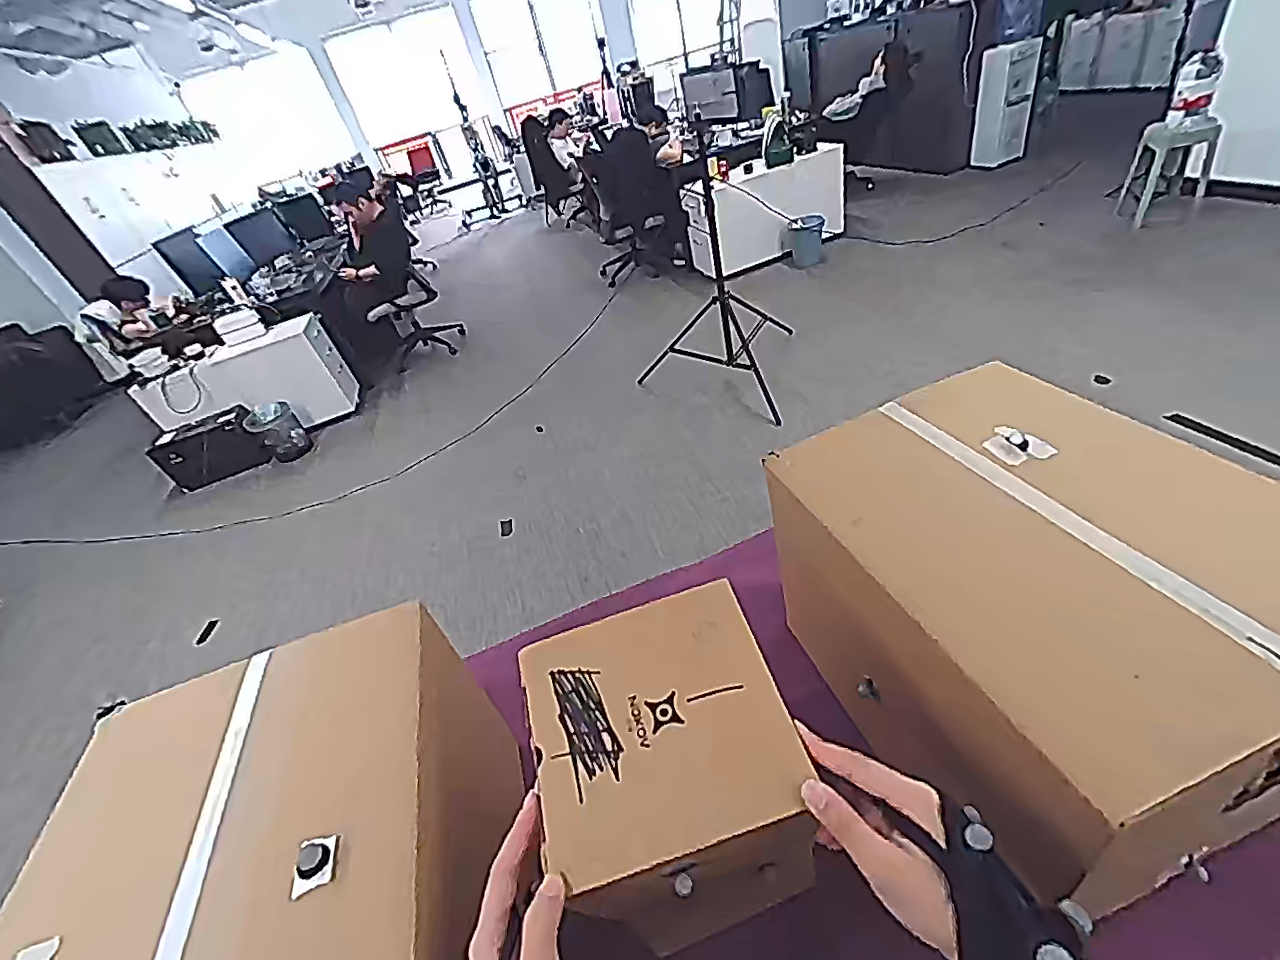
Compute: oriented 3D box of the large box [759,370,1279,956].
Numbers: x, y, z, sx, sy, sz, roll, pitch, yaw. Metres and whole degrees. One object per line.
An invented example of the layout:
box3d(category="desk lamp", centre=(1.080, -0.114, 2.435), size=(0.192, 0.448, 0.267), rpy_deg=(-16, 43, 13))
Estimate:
box3d(category="large box", centre=(0.371, 0.142, 0.553), size=(0.320, 0.320, 0.408), rpy_deg=(-22, 36, -7))
